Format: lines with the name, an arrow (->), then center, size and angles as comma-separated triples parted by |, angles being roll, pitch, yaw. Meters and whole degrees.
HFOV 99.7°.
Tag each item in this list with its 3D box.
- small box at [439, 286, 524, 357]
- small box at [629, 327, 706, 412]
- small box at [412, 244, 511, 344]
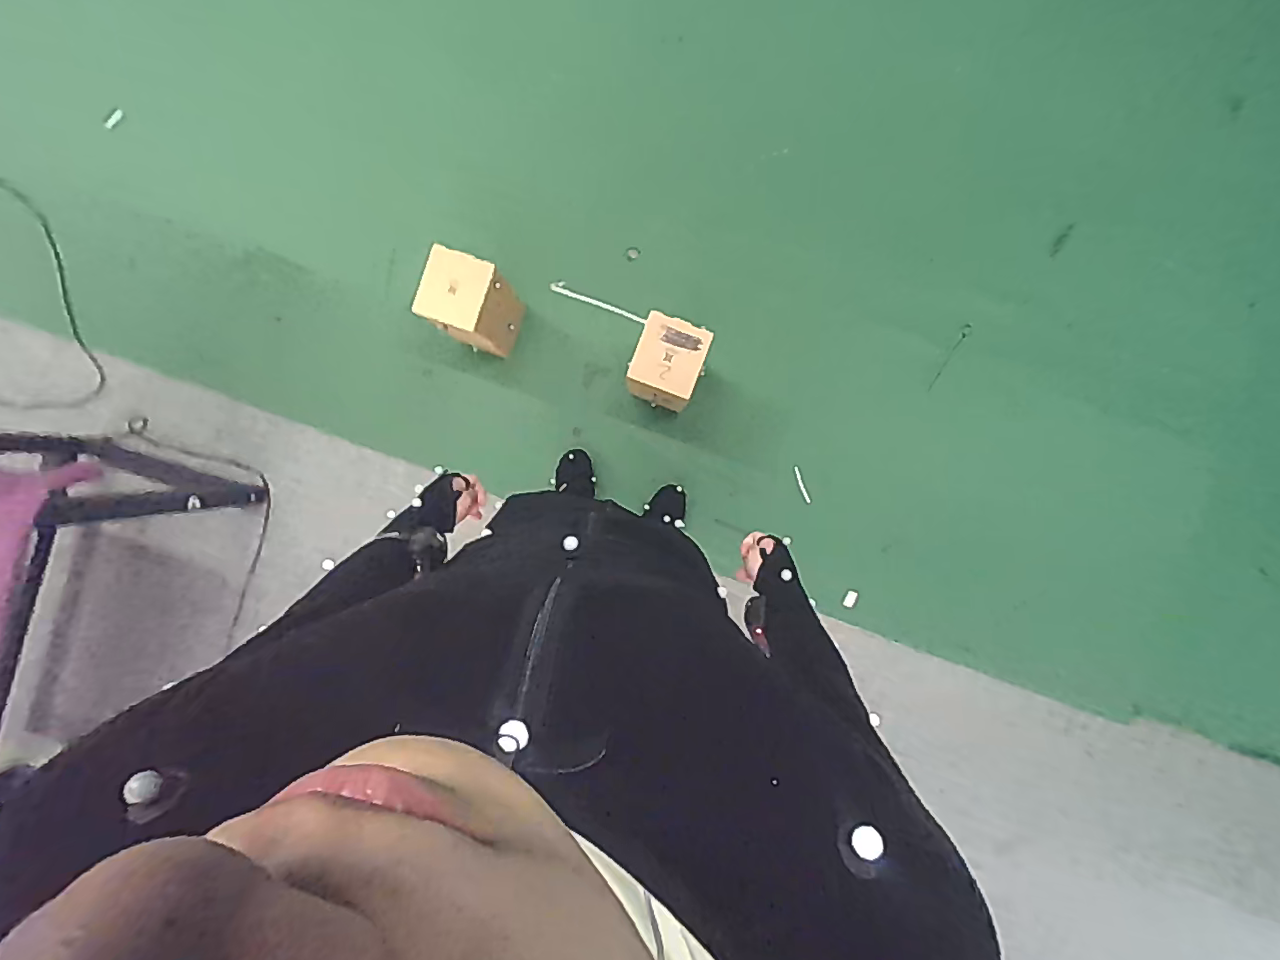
small box -> -0.448, -0.475, 1.558 | 0.168, 0.176, 0.179 | 20, 93, 2
small box -> 0.075, -0.309, 1.546 | 0.168, 0.176, 0.179 | 22, 92, 1
small box -> -0.451, -0.471, 1.397 | 0.168, 0.176, 0.179 | 20, 91, 2
